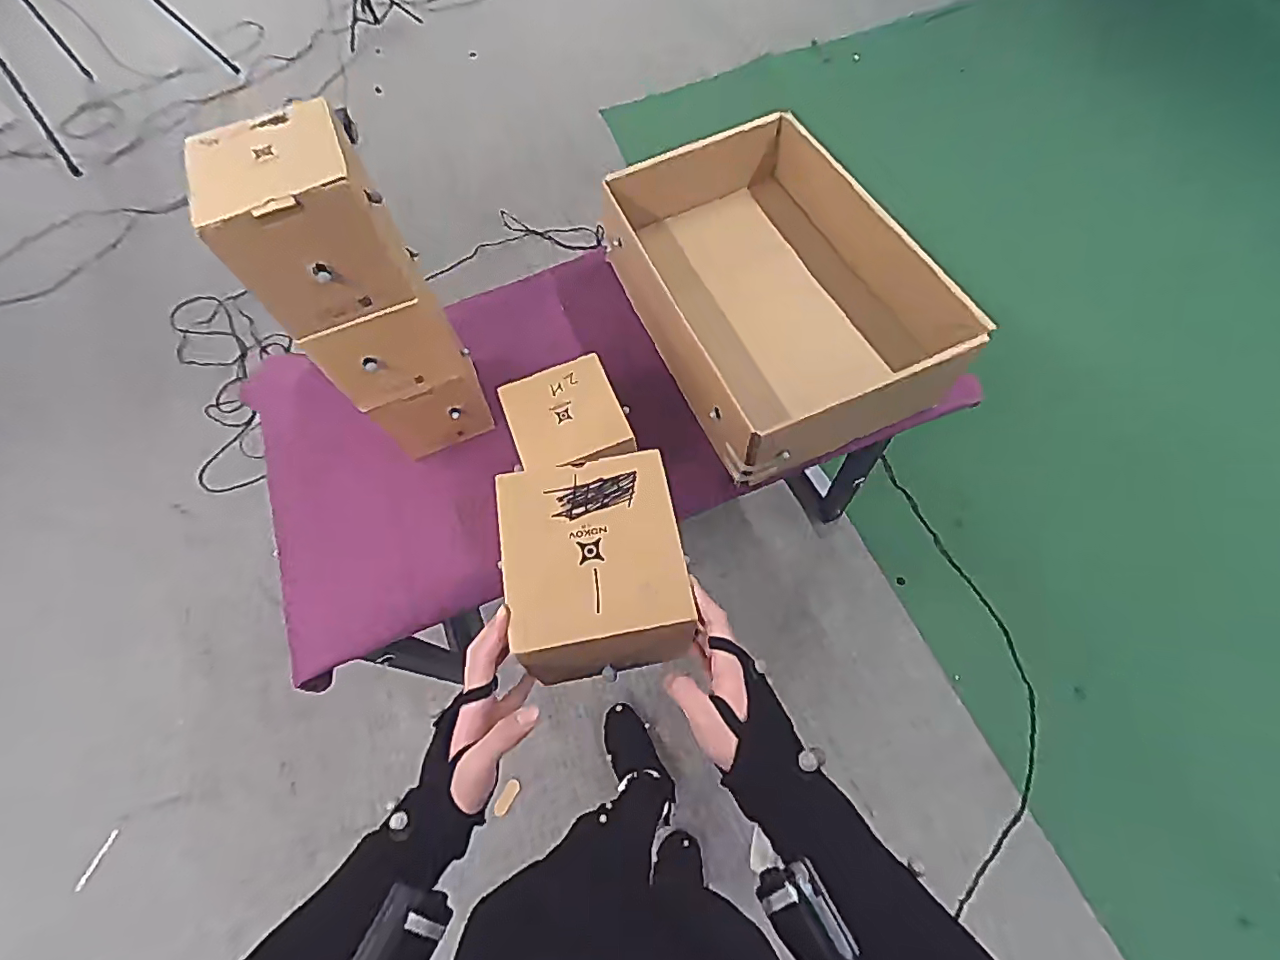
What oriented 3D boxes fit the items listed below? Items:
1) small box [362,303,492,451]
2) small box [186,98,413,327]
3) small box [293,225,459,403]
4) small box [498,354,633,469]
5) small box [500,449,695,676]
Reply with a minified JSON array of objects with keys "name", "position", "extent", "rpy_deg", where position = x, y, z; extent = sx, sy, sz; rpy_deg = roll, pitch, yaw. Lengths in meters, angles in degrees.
[{"name":"small box","position":[-0.380,-0.171,0.956],"extent":[0.168,0.176,0.179],"rpy_deg":[-22,64,-7]},{"name":"small box","position":[-0.404,-0.313,0.664],"extent":[0.168,0.176,0.179],"rpy_deg":[-23,65,-7]},{"name":"small box","position":[-0.391,-0.238,0.809],"extent":[0.168,0.176,0.179],"rpy_deg":[-23,64,-7]},{"name":"small box","position":[-0.109,-0.065,0.877],"extent":[0.168,0.176,0.179],"rpy_deg":[-21,63,-6]},{"name":"small box","position":[-0.045,0.093,0.574],"extent":[0.168,0.176,0.179],"rpy_deg":[-10,62,-3]}]
